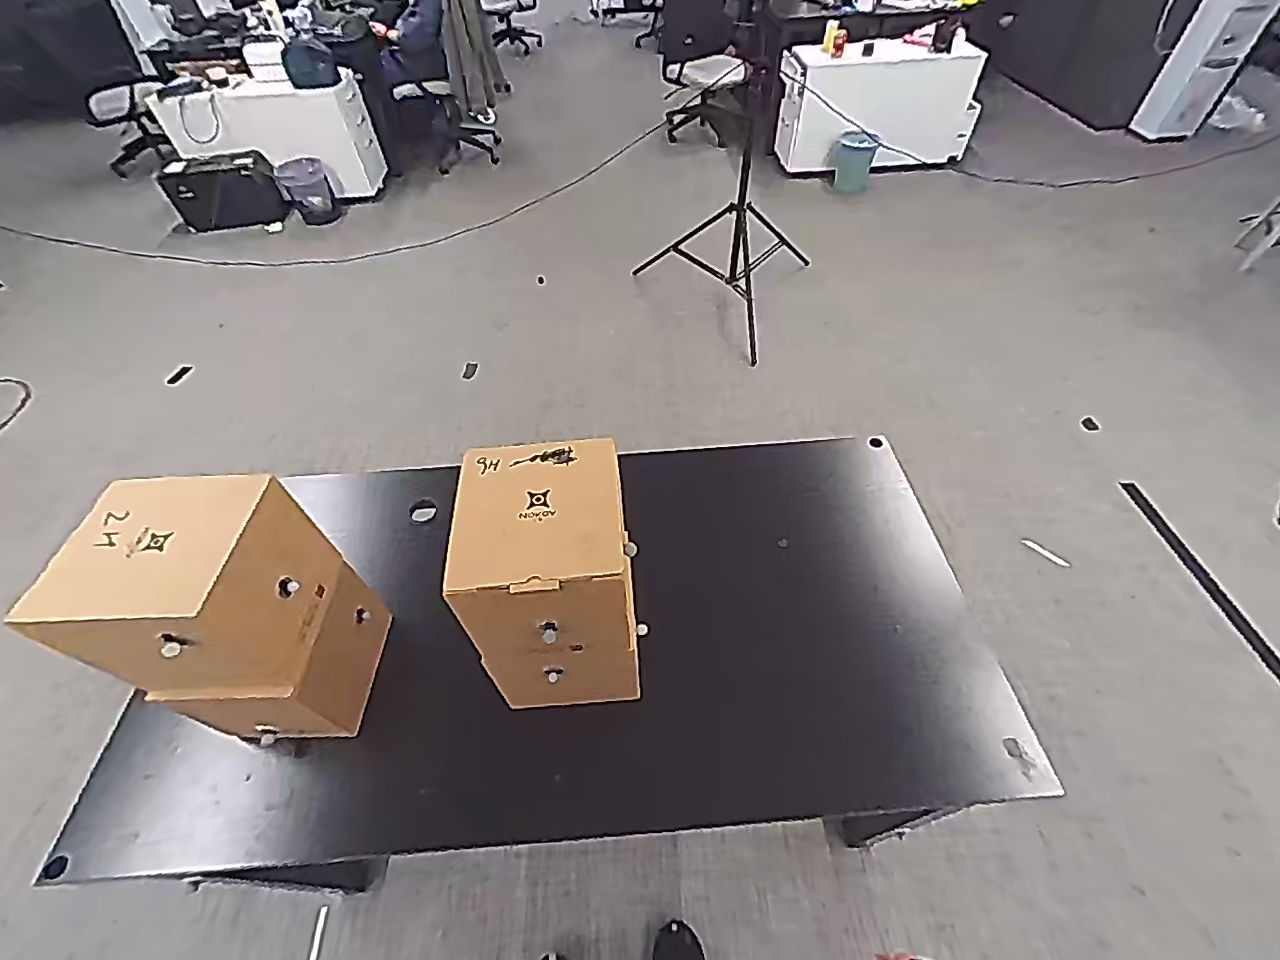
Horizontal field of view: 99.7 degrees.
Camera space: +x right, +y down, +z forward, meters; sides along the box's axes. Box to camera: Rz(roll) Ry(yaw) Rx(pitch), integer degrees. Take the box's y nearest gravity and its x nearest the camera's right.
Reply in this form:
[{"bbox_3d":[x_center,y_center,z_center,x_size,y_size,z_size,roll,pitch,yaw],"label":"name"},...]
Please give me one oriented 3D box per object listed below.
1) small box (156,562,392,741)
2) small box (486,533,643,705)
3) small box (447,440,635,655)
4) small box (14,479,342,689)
[{"bbox_3d":[-0.451,0.225,0.707,0.168,0.176,0.179,-3,51,1],"label":"small box"},{"bbox_3d":[-0.090,0.188,0.720,0.179,0.176,0.168,-4,51,-2],"label":"small box"},{"bbox_3d":[-0.095,0.081,0.596,0.168,0.176,0.179,-5,51,-2],"label":"small box"},{"bbox_3d":[-0.461,0.115,0.583,0.179,0.176,0.168,-3,50,1],"label":"small box"}]
